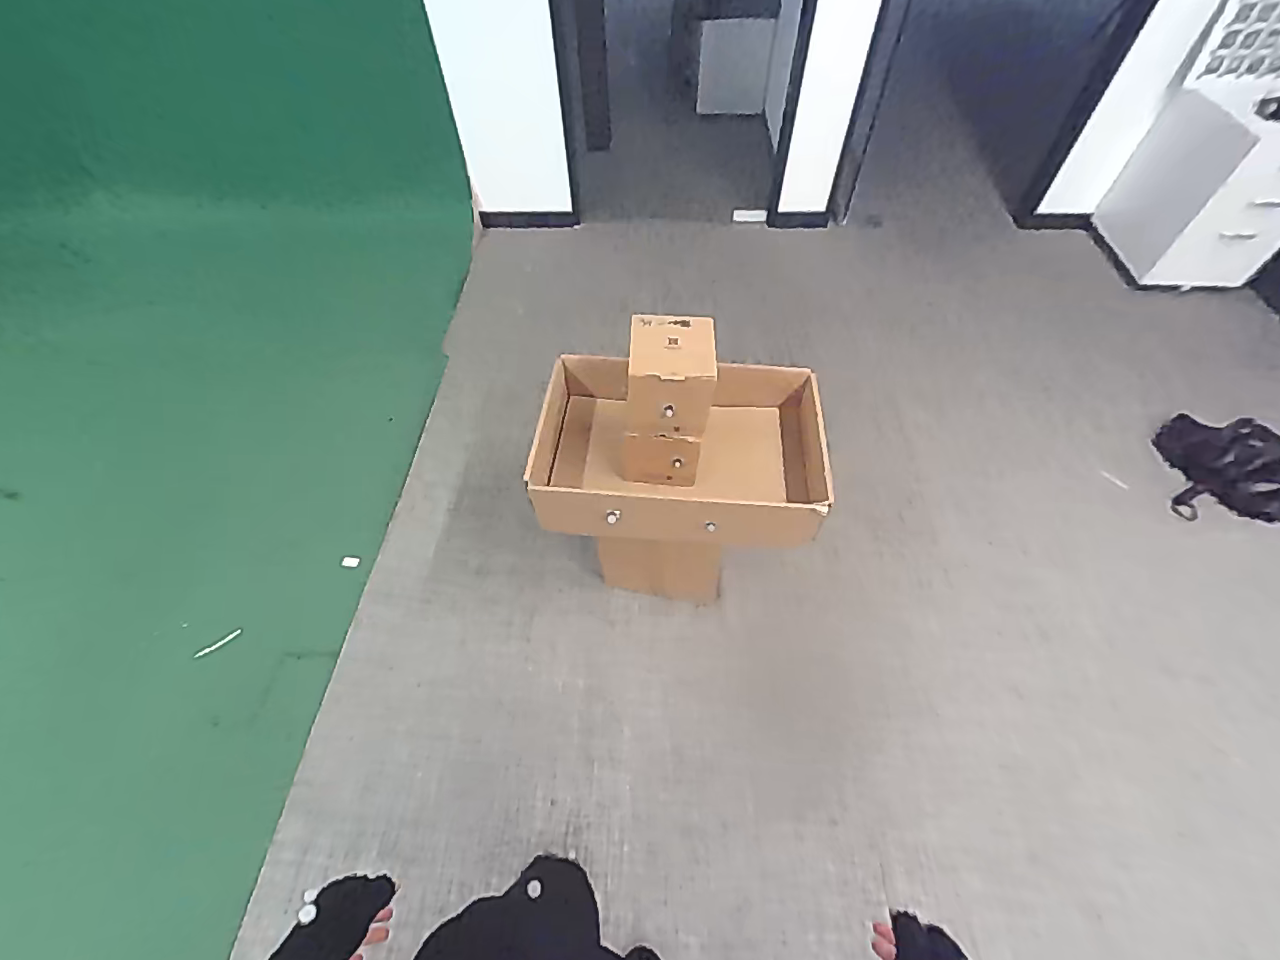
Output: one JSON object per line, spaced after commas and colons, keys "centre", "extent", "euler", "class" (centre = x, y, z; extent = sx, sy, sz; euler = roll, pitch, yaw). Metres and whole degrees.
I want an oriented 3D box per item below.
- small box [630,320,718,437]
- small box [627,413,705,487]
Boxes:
{"centre": [0.067, -0.204, 1.110], "extent": [0.168, 0.176, 0.179], "euler": [3, 55, 0], "class": "small box"}
{"centre": [0.060, -0.101, 1.238], "extent": [0.168, 0.176, 0.179], "euler": [5, 52, 1], "class": "small box"}
